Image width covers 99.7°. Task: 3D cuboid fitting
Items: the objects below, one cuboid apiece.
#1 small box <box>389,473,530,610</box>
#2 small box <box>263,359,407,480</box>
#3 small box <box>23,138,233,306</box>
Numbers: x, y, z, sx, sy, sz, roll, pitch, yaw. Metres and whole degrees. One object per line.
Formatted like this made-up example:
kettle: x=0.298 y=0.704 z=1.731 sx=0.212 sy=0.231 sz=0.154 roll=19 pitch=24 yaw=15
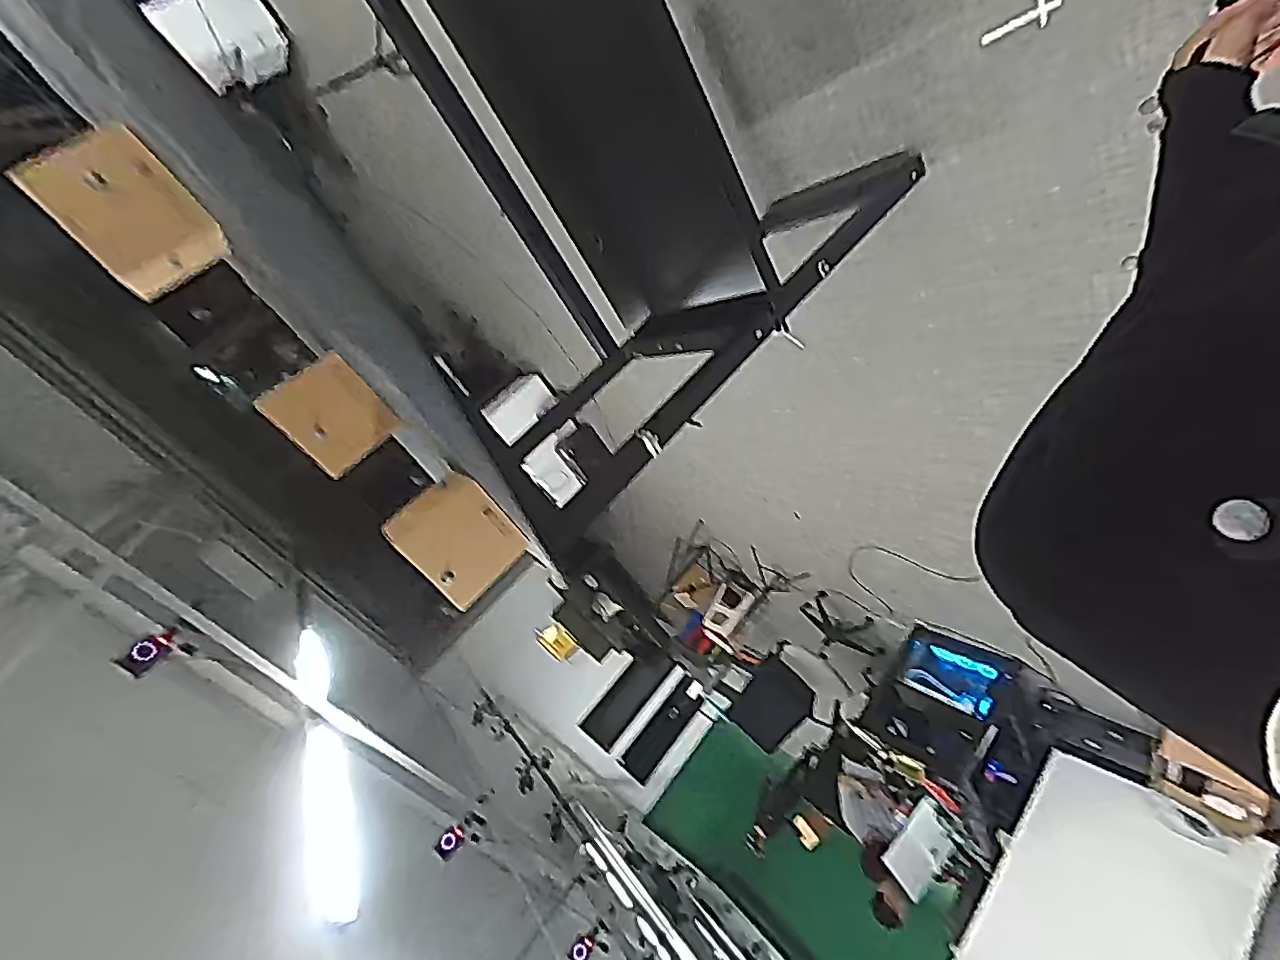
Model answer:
small box: x=-0.333 y=0.104 z=1.006 sx=0.168 sy=0.176 sz=0.179 roll=54 pitch=159 yaw=-25
small box: x=-0.603 y=-0.128 z=1.072 sx=0.168 sy=0.176 sz=0.179 roll=14 pitch=145 yaw=54
small box: x=-0.811 y=-0.415 z=0.884 sx=0.179 sy=0.176 sz=0.168 roll=11 pitch=142 yaw=56
